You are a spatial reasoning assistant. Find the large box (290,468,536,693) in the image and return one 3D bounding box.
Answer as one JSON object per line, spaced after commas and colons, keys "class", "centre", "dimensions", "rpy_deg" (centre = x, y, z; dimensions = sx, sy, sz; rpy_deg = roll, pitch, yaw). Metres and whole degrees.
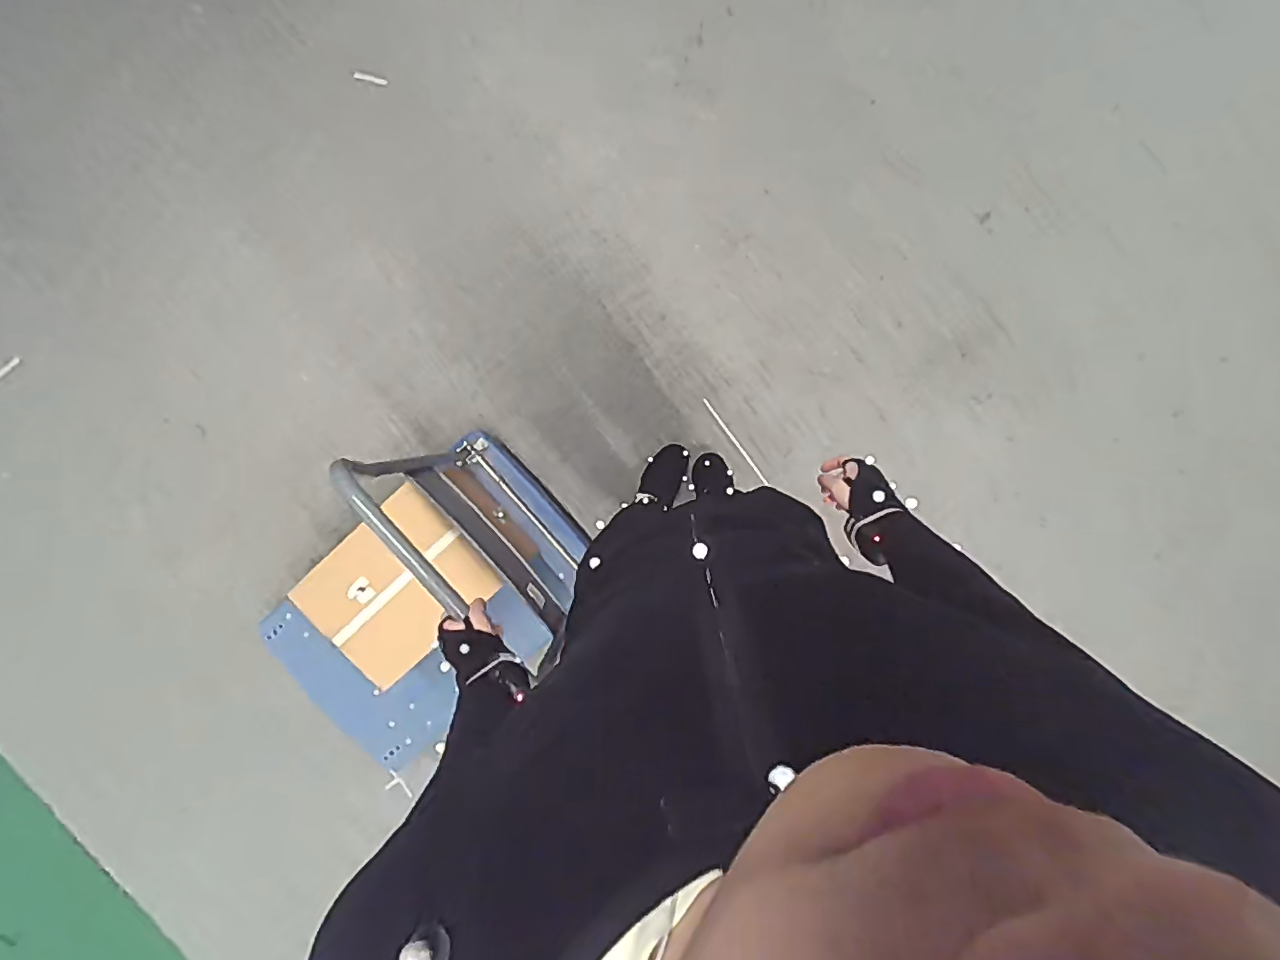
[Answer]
{"class": "large box", "centre": [-0.526, 0.221, 1.334], "dimensions": [0.408, 0.320, 0.320], "rpy_deg": [-42, 93, 4]}
